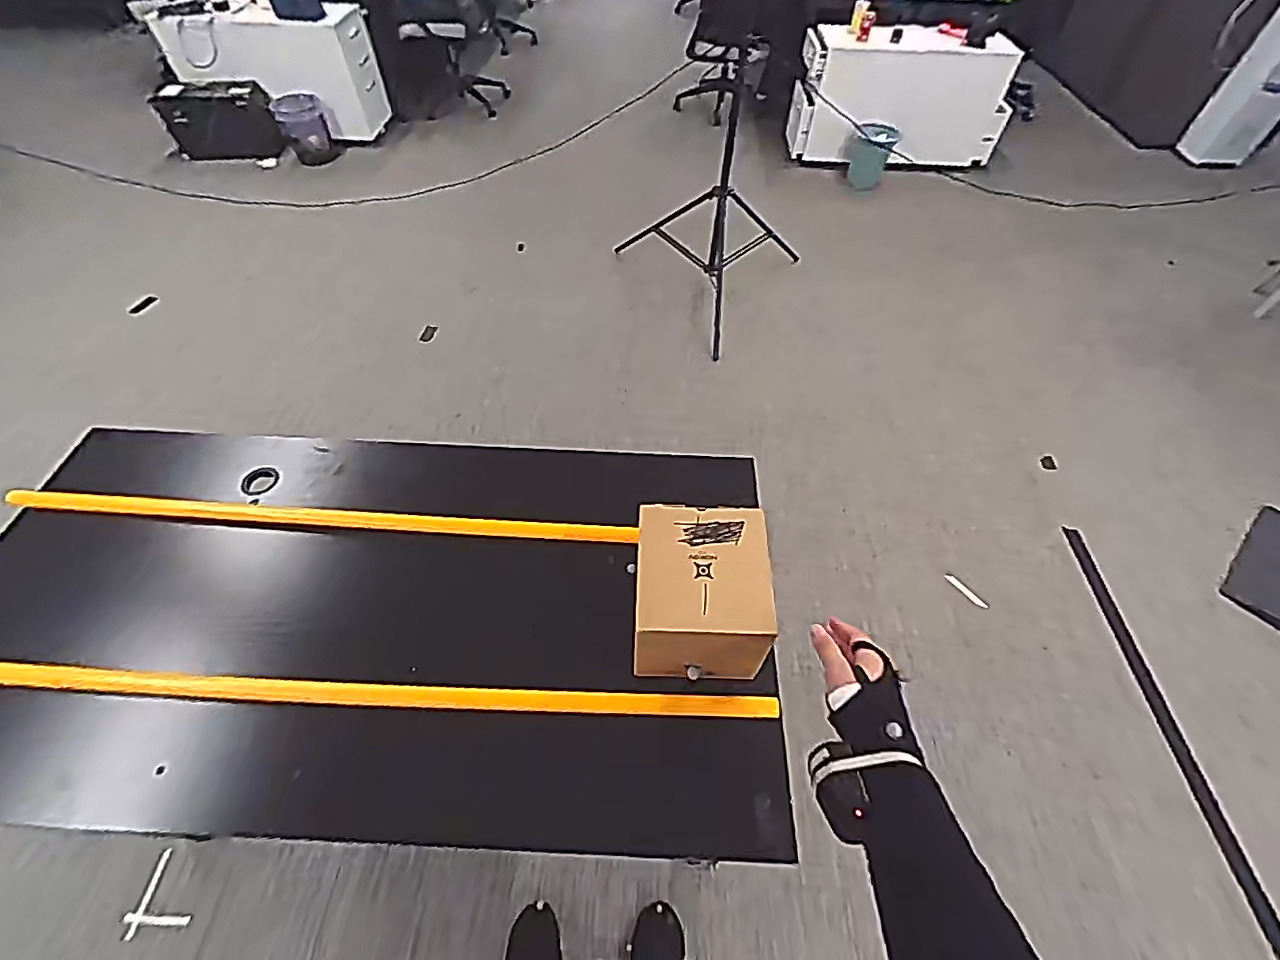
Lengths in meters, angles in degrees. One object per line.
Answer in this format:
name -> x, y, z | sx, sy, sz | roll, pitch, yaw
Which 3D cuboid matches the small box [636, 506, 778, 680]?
small box -> 0.080, 0.156, 0.737 | 0.168, 0.176, 0.179 | 2, 53, 1
